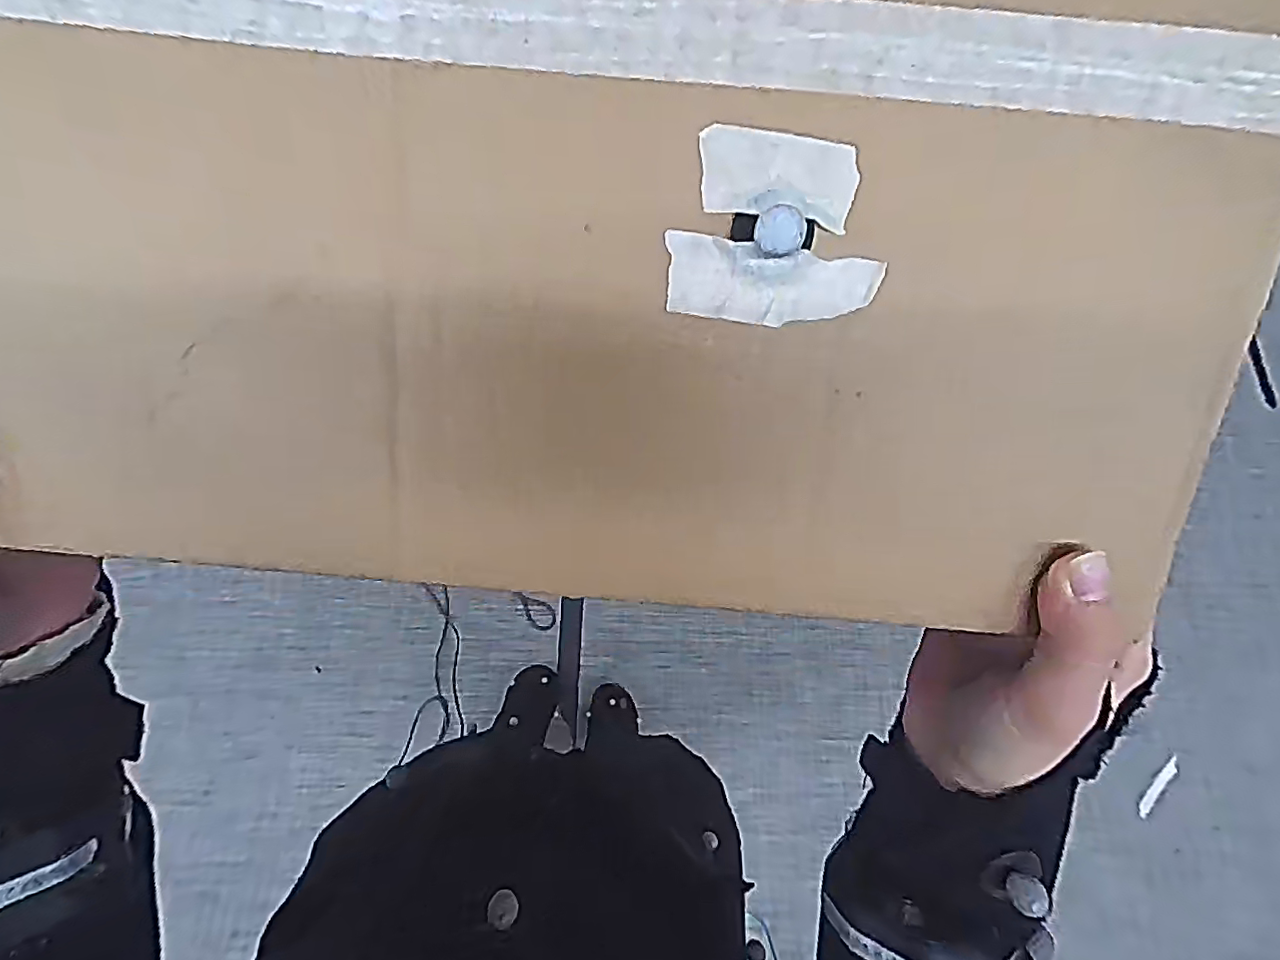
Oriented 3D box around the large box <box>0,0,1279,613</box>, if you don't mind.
[{"bbox_3d":[-0.023,-0.145,0.298,0.408,0.320,0.320,5,103,-1],"label":"large box"}]
